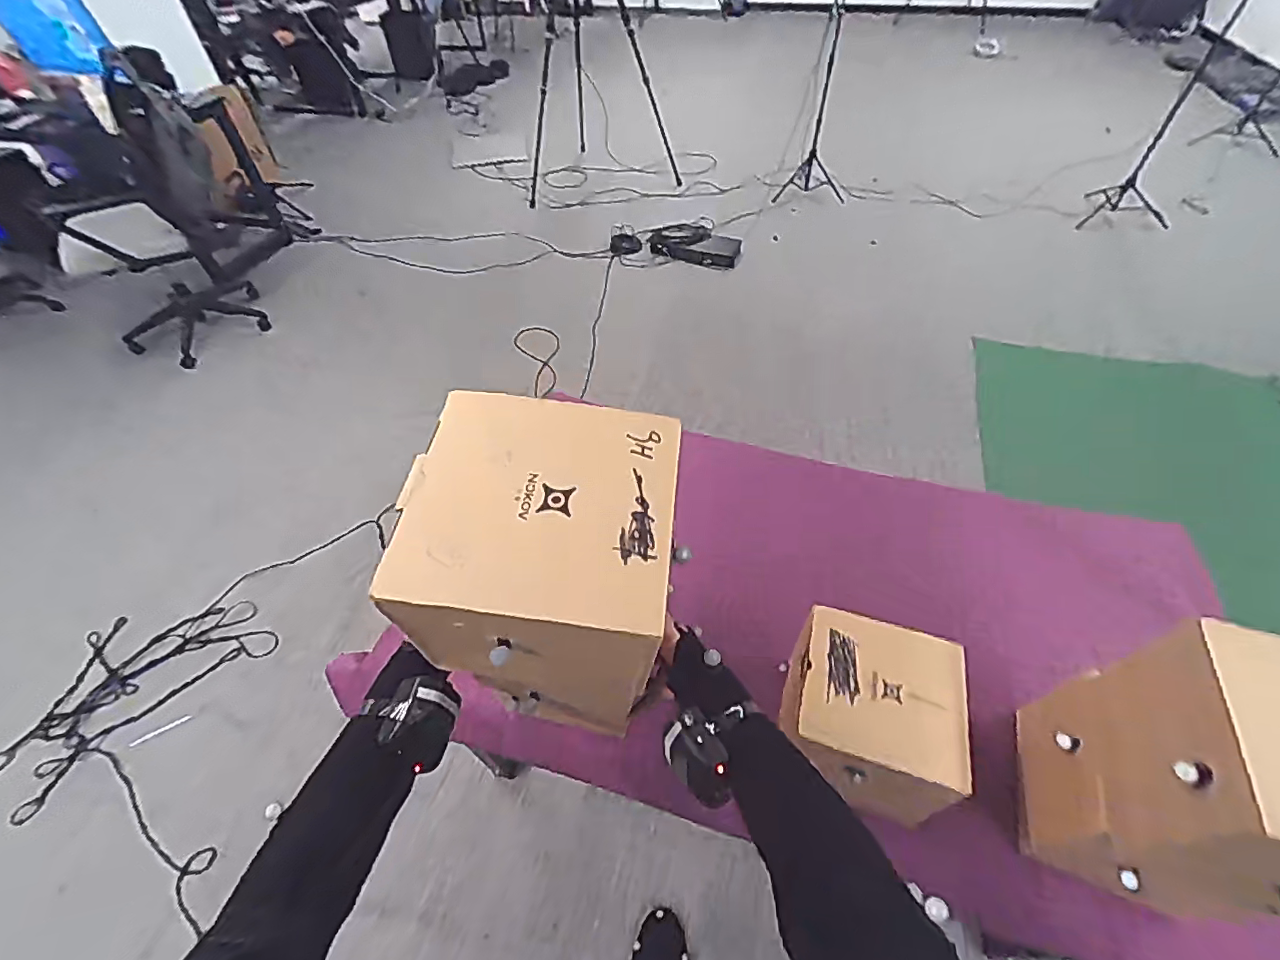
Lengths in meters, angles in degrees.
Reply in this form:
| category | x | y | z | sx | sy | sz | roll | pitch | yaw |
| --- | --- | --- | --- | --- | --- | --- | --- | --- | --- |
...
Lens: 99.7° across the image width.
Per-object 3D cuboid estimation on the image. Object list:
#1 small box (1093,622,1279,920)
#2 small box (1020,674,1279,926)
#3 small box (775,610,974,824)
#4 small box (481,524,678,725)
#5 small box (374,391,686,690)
| category | x | y | z | sx | sy | sz | roll | pitch | yaw |
| --- | --- | --- | --- | --- | --- | --- | --- | --- | --- |
| small box | 0.537 | 0.257 | 0.461 | 0.168 | 0.176 | 0.179 | 15 | 51 | 14 |
| small box | 0.550 | 0.354 | 0.596 | 0.168 | 0.176 | 0.179 | 17 | 52 | 16 |
| small box | 0.272 | 0.290 | 0.657 | 0.179 | 0.176 | 0.168 | 14 | 50 | 13 |
| small box | -0.067 | 0.135 | 0.566 | 0.168 | 0.176 | 0.179 | 14 | 57 | 4 |
| small box | -0.065 | 0.055 | 0.422 | 0.179 | 0.176 | 0.168 | 7 | 57 | 1 |
